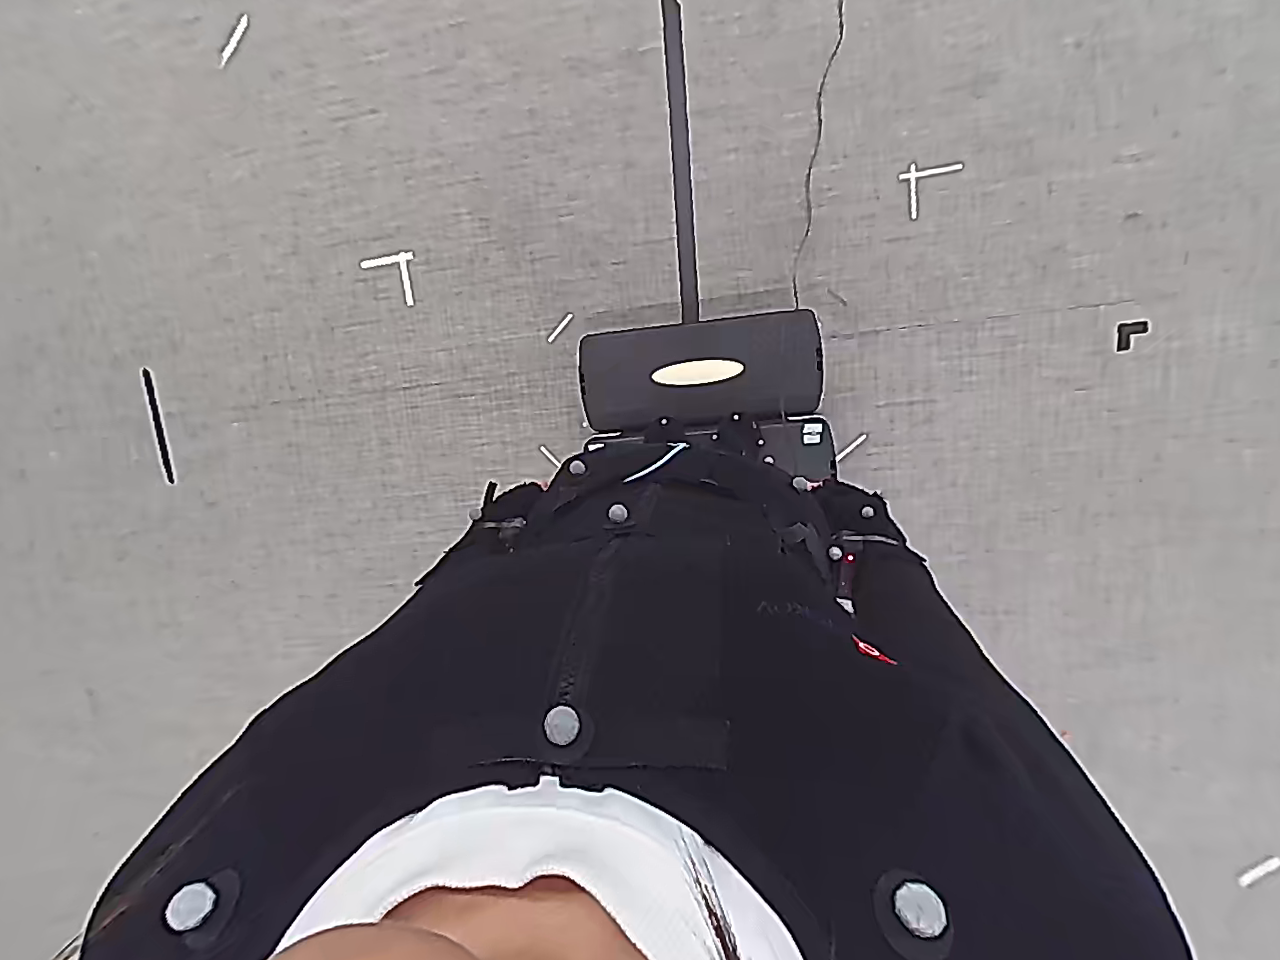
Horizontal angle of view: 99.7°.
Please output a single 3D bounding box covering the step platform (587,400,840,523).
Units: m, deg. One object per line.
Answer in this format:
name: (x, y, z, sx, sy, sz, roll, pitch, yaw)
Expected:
step platform: (0.194, -0.048, 1.509, 0.684, 0.204, 0.286, -5, 97, 10)
